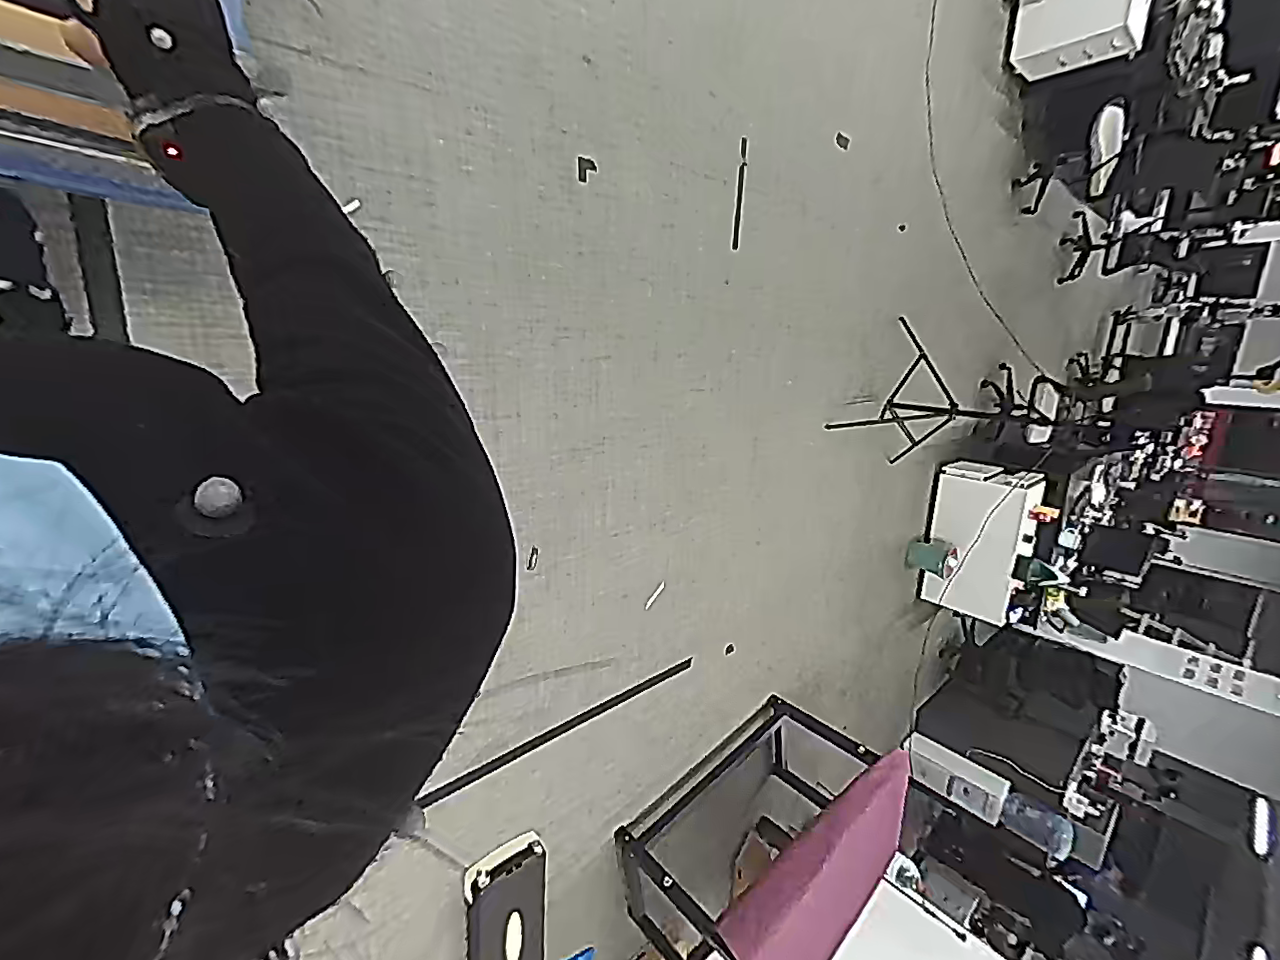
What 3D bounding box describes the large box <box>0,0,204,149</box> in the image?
[{"bbox_3d":[-0.829,-0.676,0.677,0.408,0.320,0.320,-6,106,-42],"label":"large box"}]
